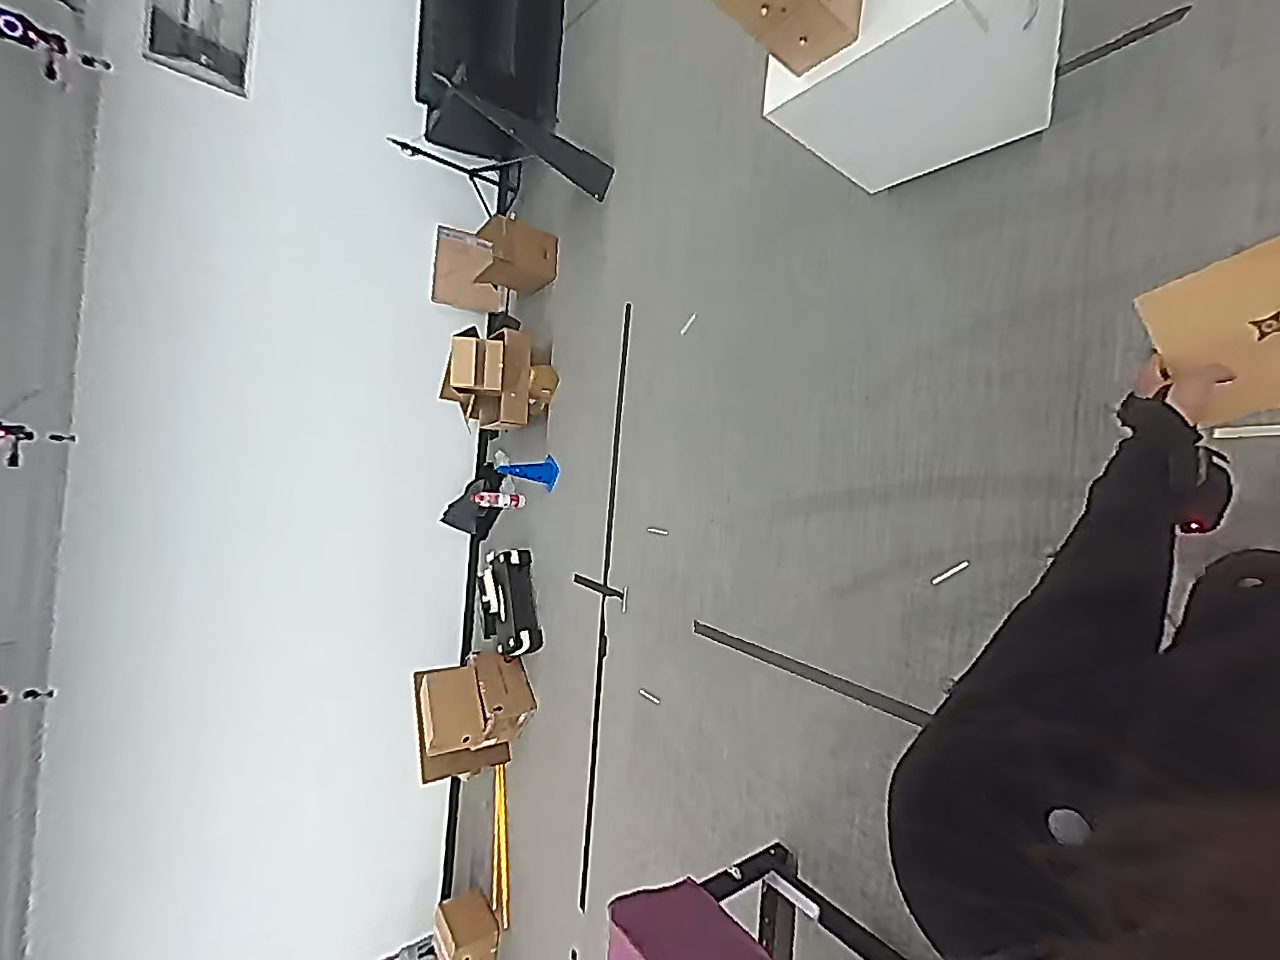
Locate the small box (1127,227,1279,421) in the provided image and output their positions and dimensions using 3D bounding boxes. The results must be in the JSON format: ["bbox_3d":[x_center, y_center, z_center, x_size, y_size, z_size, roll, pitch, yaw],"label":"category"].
[{"bbox_3d":[0.693,-0.171,0.601,0.179,0.176,0.168,-26,76,44],"label":"small box"}]

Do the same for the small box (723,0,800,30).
[{"bbox_3d":[0.266,-1.155,1.181,0.168,0.176,0.179,11,95,54],"label":"small box"}]
